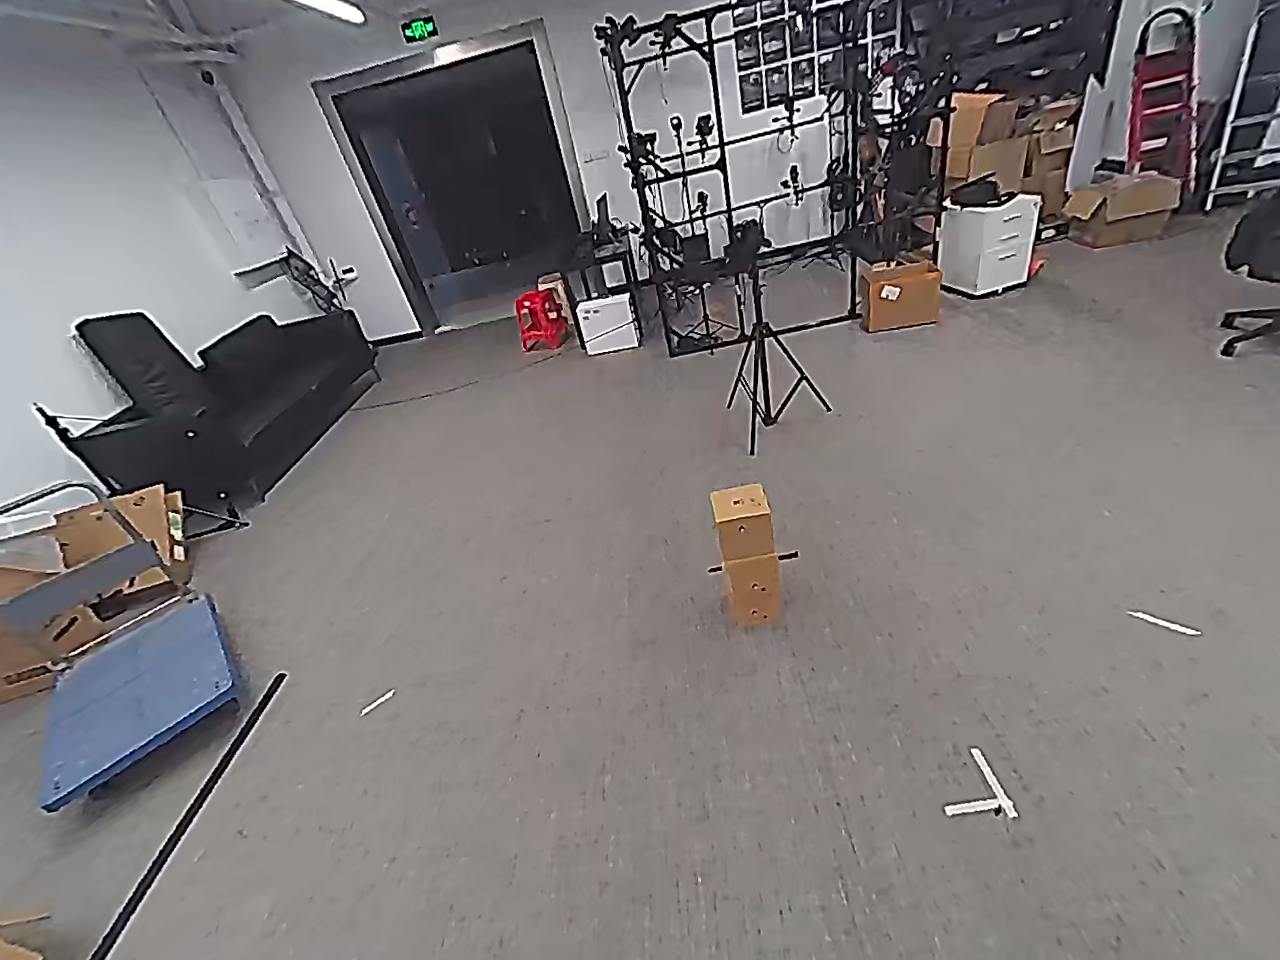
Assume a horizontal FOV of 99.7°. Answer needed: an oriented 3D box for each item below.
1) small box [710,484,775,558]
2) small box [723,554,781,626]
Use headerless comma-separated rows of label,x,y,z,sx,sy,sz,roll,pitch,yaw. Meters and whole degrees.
small box,0.337,0.140,1.780,0.179,0.176,0.168,-10,34,6
small box,0.407,0.402,1.968,0.168,0.176,0.179,-14,33,2
